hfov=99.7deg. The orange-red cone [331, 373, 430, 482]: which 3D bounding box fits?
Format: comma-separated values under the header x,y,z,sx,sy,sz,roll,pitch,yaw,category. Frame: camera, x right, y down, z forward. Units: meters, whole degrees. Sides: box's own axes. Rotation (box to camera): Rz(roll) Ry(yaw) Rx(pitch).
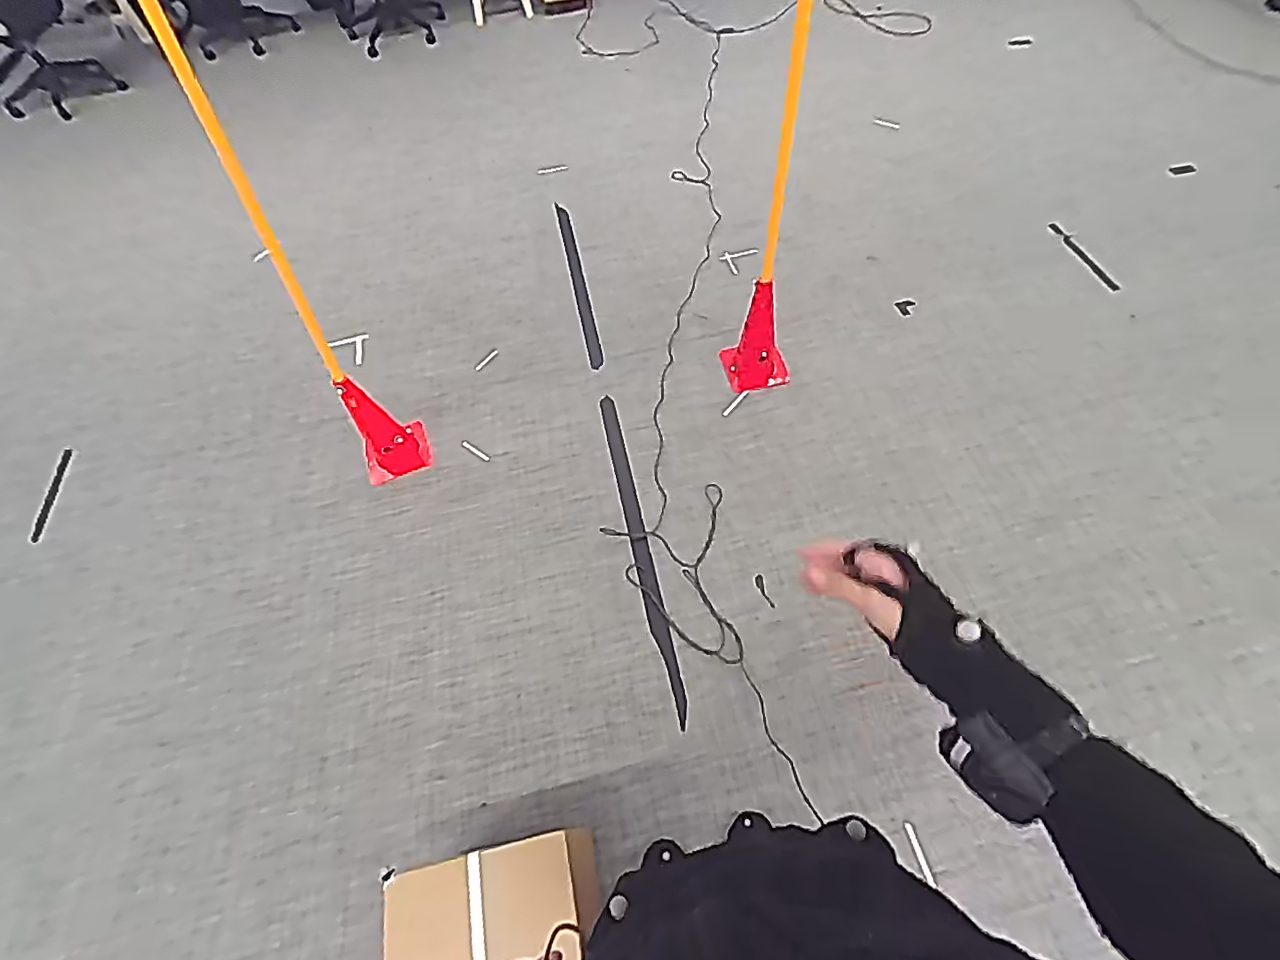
x,y,z,sx,sy,sz,roll,pitch,yaw,category
-0.799,-0.183,1.599,0.199,0.360,0.198,-21,59,-7,orange-red cone
